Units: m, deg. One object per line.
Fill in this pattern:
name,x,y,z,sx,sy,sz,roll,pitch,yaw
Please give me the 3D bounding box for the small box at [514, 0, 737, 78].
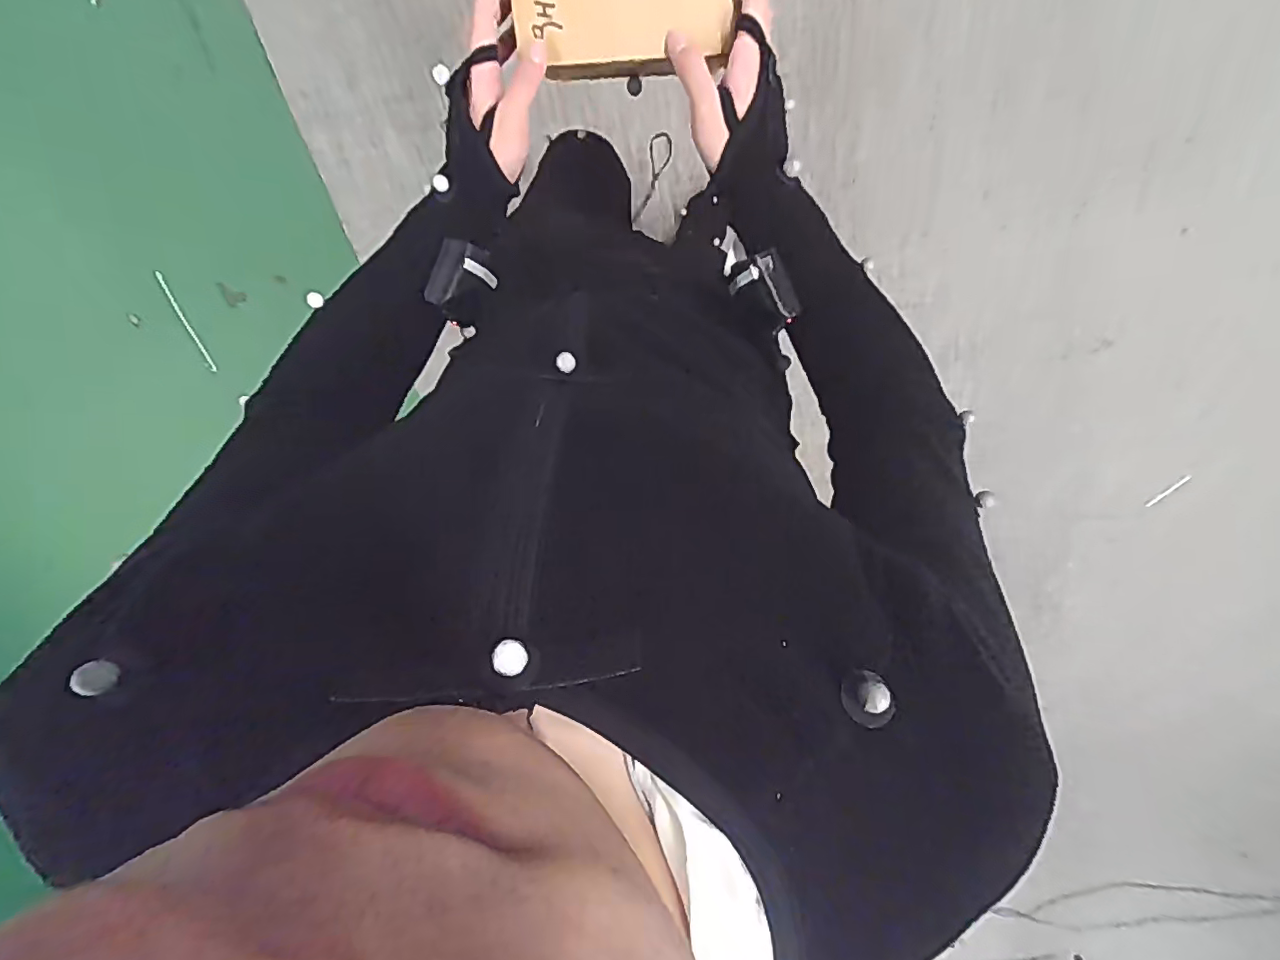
small box,-0.011,-0.452,0.460,0.179,0.176,0.168,-1,123,3
